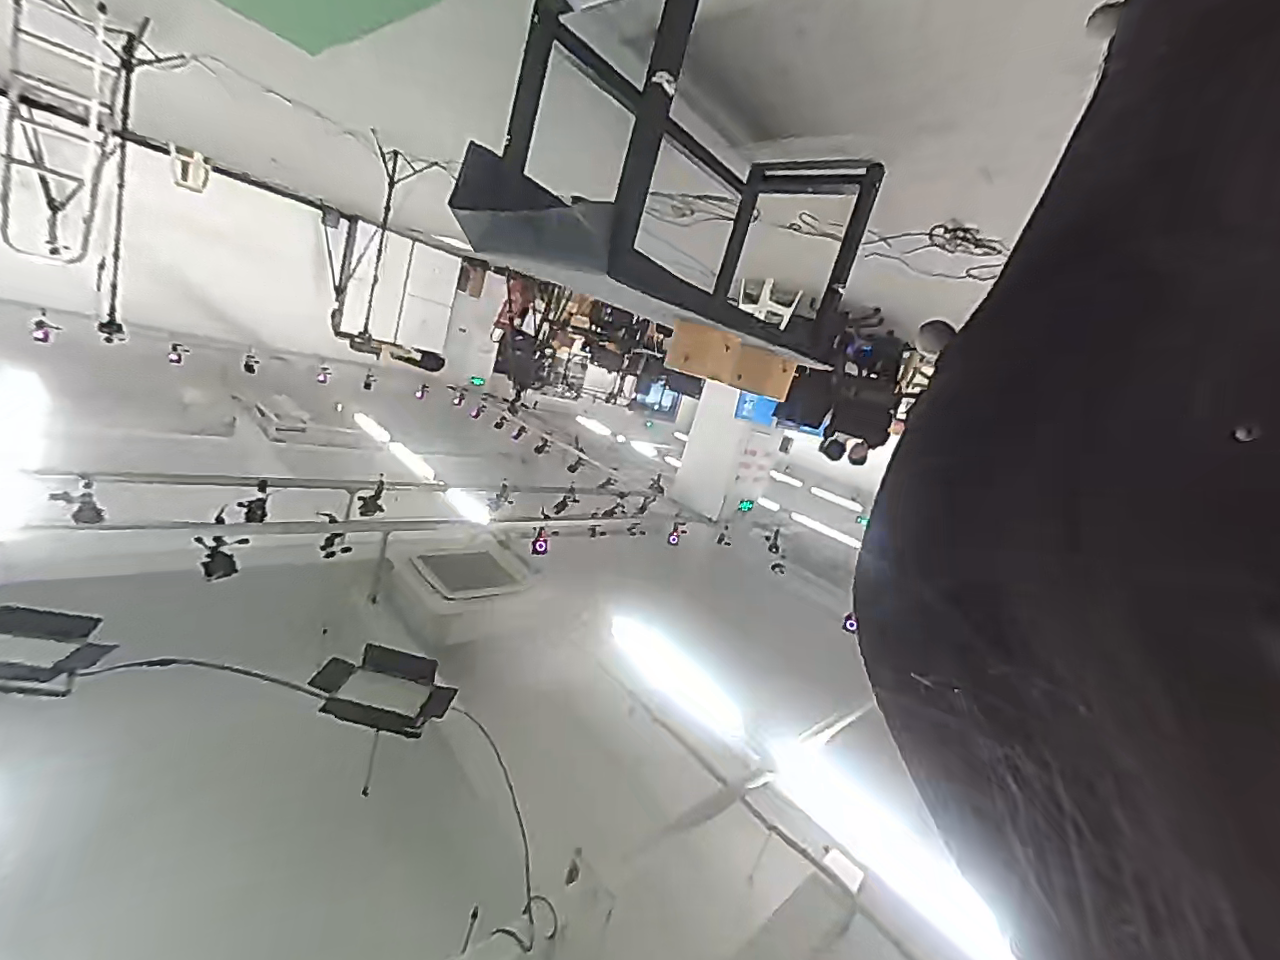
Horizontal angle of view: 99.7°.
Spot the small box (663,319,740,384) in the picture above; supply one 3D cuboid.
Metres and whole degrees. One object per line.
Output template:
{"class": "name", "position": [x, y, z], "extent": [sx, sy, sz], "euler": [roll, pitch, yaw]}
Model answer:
{"class": "small box", "position": [0.212, -0.438, 1.834], "extent": [0.179, 0.176, 0.168], "euler": [26, -164, 40]}

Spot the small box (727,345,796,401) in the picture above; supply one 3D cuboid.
{"class": "small box", "position": [0.474, -0.420, 2.101], "extent": [0.168, 0.176, 0.179], "euler": [3, -162, -47]}
